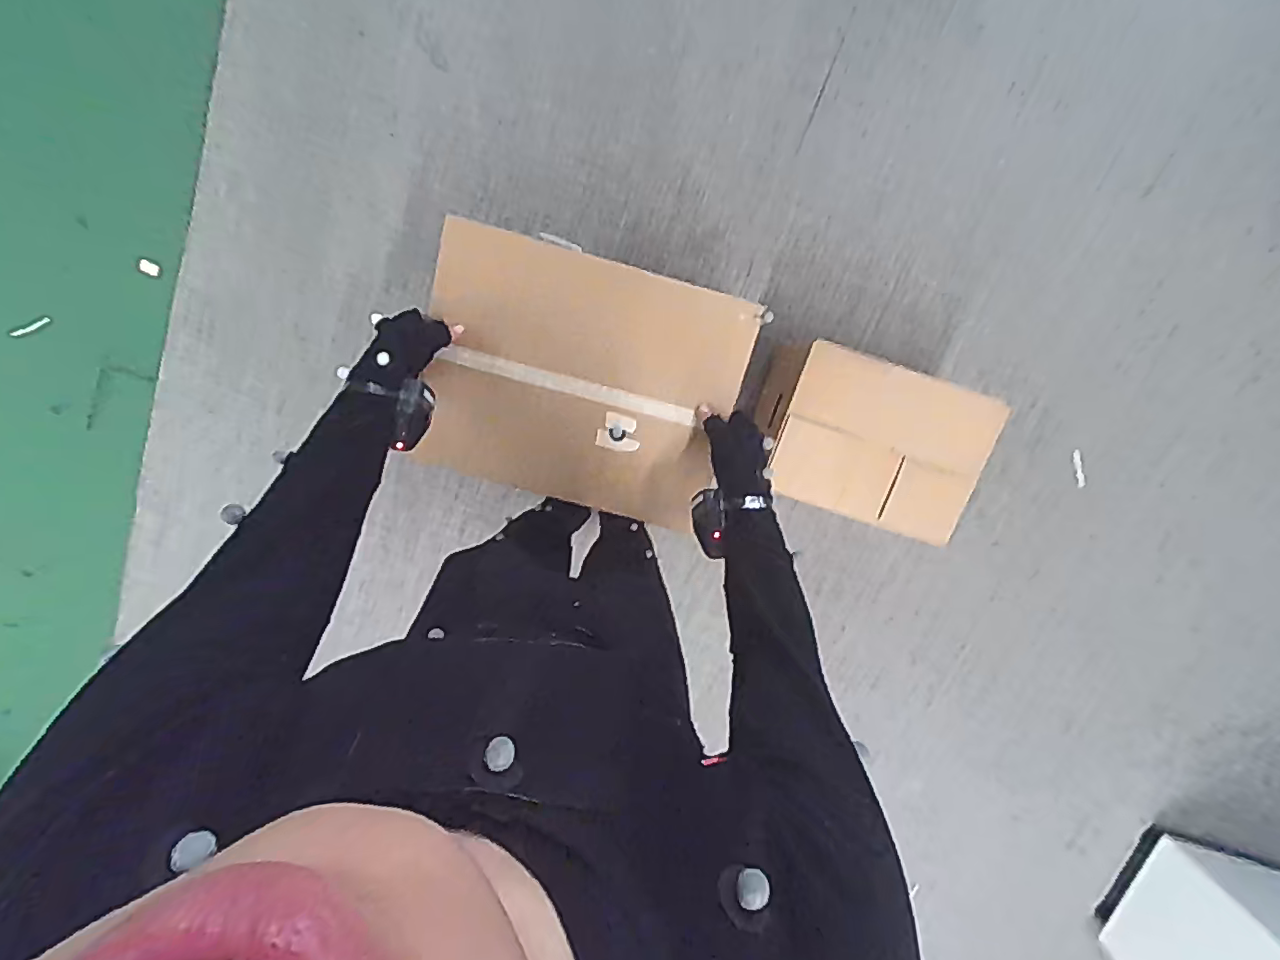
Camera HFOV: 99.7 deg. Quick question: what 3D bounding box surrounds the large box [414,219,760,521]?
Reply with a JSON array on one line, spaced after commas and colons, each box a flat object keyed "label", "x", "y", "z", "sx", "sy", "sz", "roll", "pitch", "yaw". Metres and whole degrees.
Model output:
[{"label": "large box", "x": -0.079, "y": -0.165, "z": 0.843, "sx": 0.408, "sy": 0.320, "sz": 0.320, "roll": 14, "pitch": 105, "yaw": -4}]
